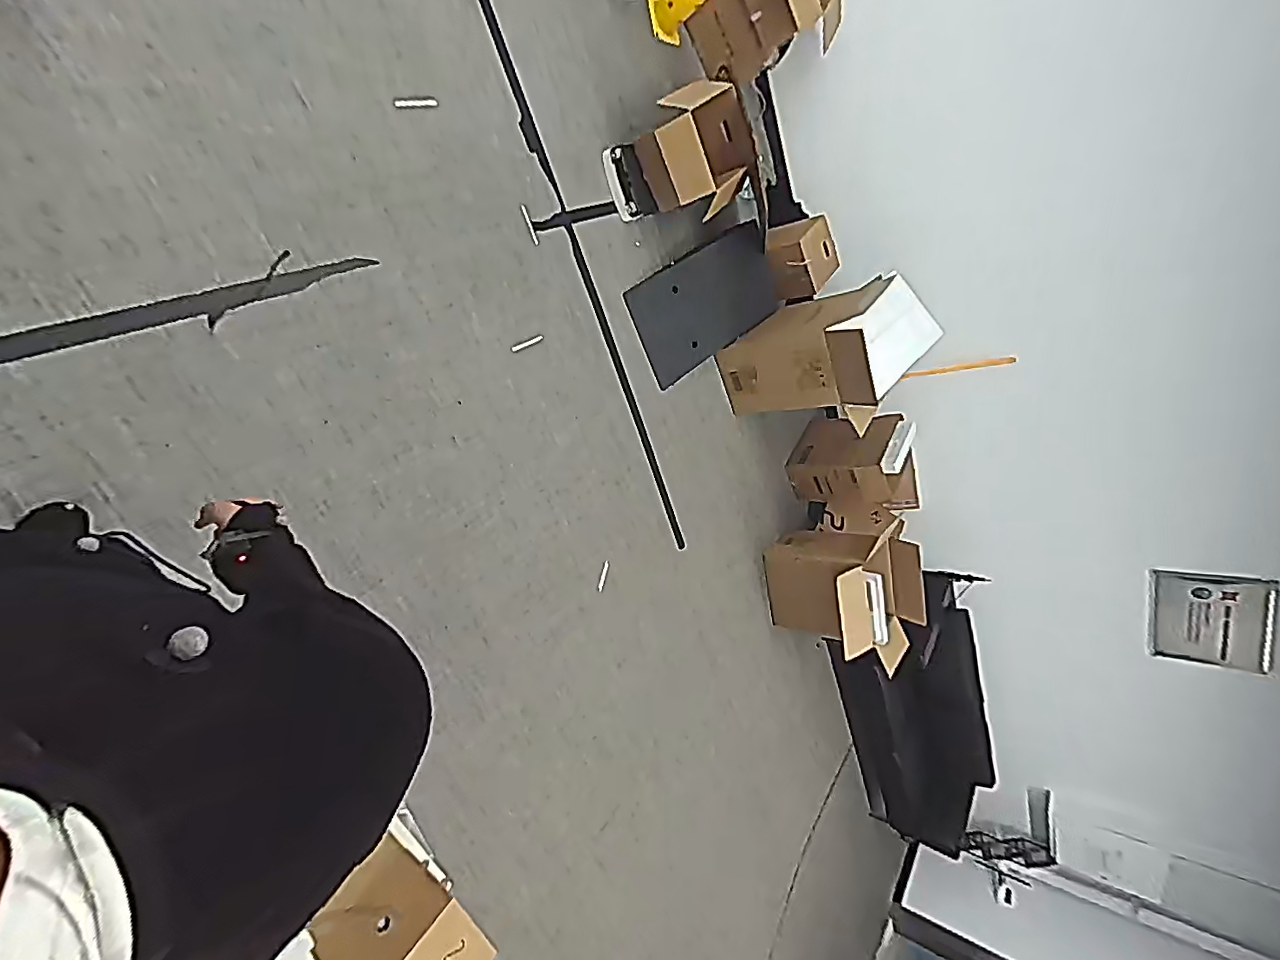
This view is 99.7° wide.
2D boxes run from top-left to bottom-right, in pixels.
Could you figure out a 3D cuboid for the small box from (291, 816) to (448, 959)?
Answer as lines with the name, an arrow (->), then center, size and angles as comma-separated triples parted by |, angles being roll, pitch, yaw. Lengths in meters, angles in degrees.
small box -> -0.493, 0.753, 0.984 | 0.168, 0.176, 0.179 | -40, 120, -40
